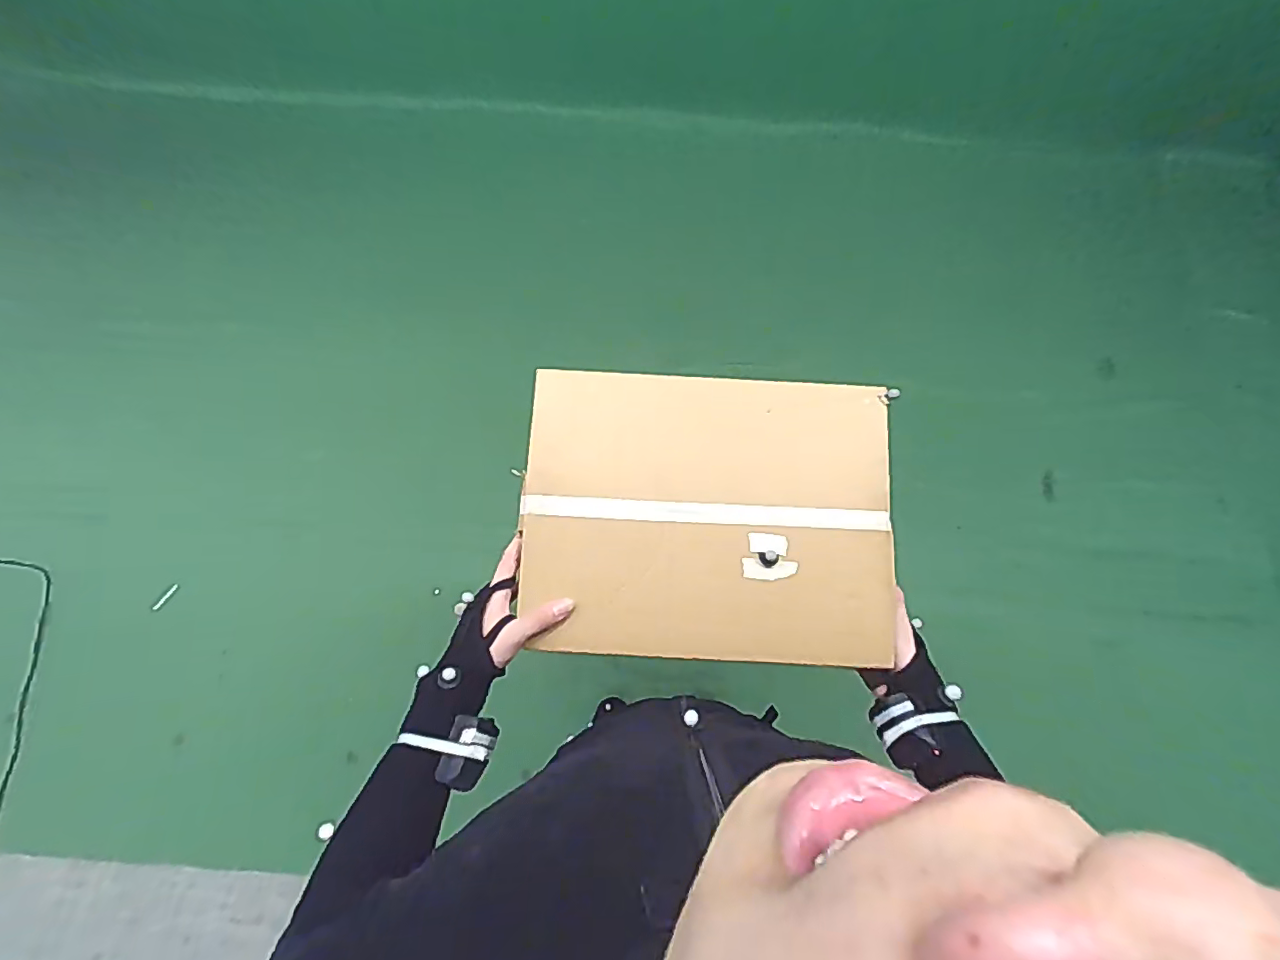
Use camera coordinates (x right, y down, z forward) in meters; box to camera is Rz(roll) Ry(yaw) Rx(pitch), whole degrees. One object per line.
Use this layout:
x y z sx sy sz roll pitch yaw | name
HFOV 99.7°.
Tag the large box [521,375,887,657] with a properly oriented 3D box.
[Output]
0.069 0.061 0.751 0.408 0.320 0.320 3 80 -1 | large box
